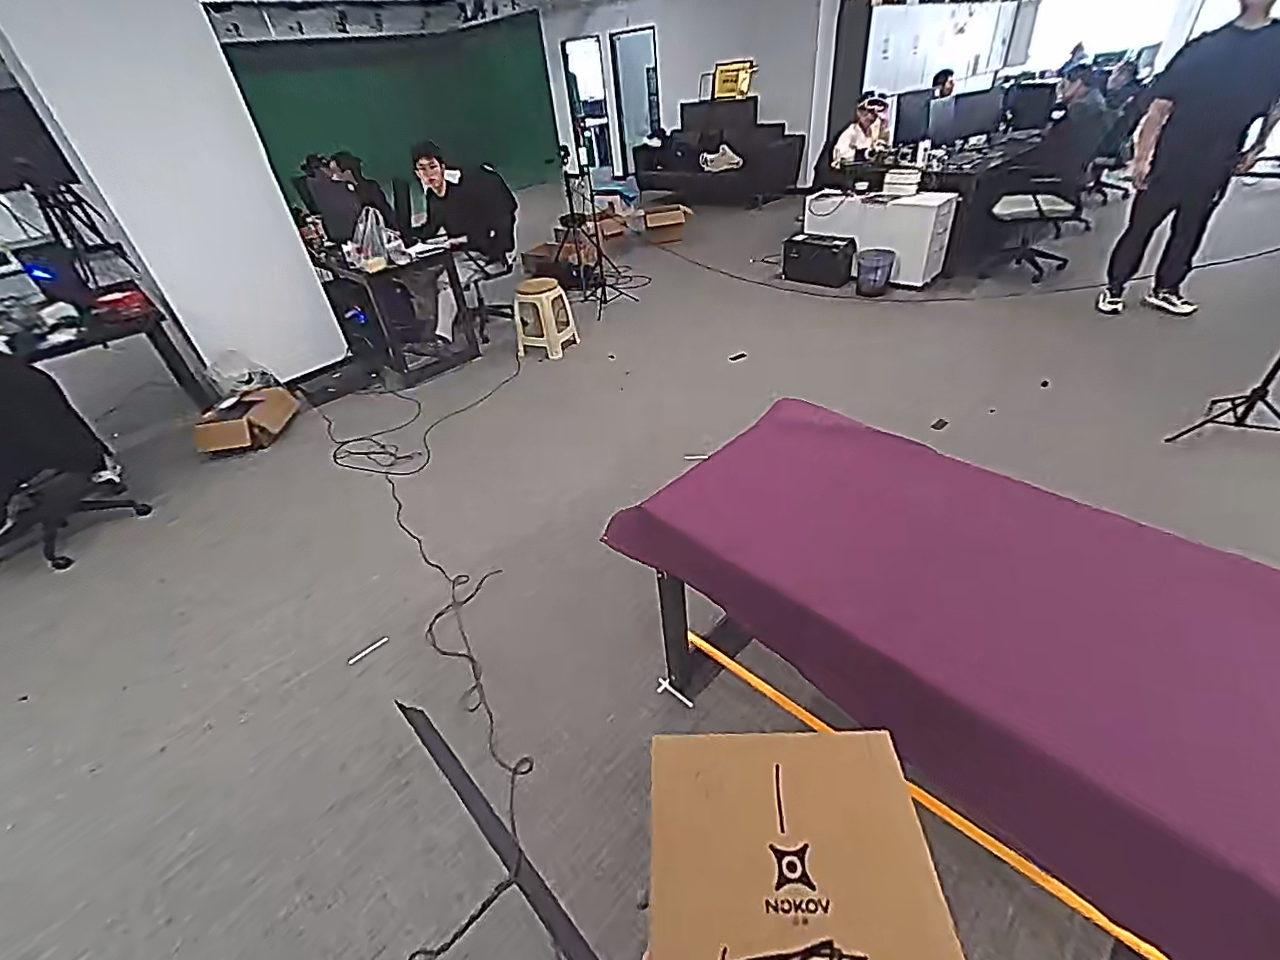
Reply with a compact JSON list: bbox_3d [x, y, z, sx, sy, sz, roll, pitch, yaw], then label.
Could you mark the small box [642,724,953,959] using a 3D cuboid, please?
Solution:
[{"bbox_3d":[0.091,0.290,0.367,0.168,0.176,0.179,-3,40,3],"label":"small box"}]
